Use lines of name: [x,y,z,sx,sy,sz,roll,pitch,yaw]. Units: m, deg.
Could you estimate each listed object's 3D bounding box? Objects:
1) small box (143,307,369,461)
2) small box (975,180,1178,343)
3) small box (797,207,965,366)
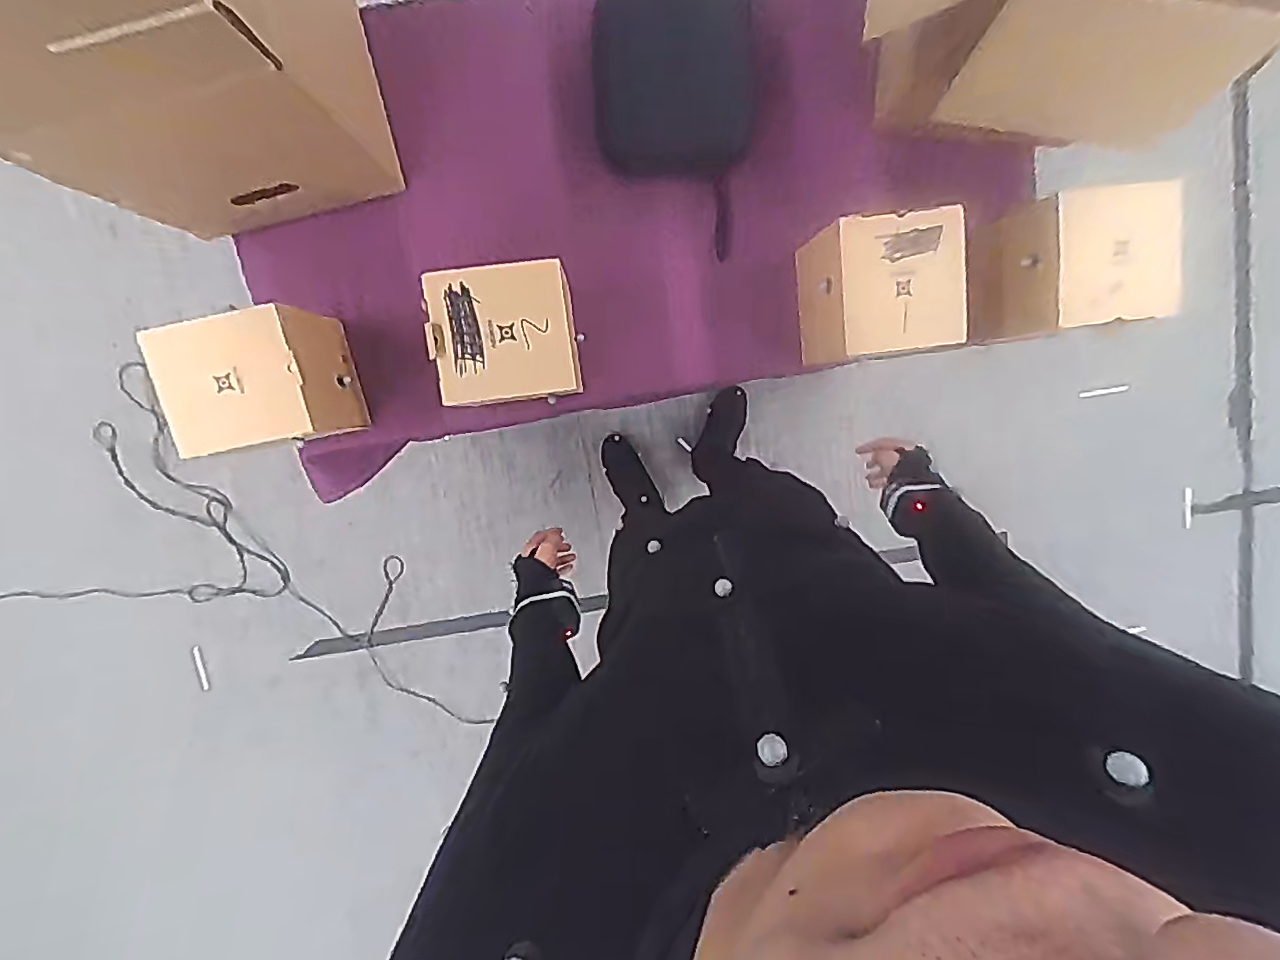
small box: [-0.519,-0.129,0.759,0.179,0.176,0.168,-13,98,-2]
small box: [0.617,-0.304,0.784,0.168,0.176,0.179,-6,98,-1]
small box: [0.335,-0.266,0.779,0.168,0.176,0.179,-7,99,-1]
